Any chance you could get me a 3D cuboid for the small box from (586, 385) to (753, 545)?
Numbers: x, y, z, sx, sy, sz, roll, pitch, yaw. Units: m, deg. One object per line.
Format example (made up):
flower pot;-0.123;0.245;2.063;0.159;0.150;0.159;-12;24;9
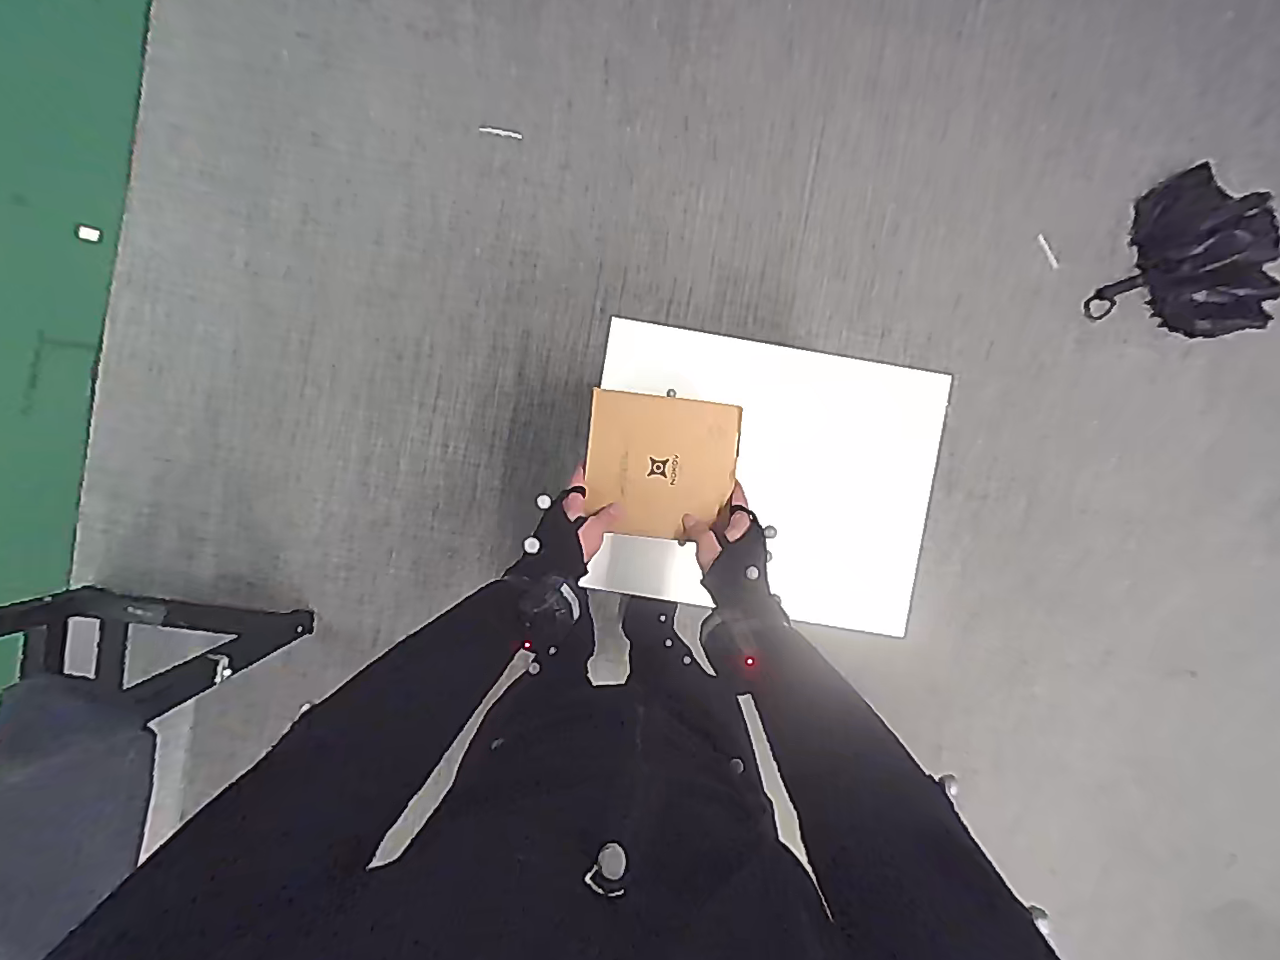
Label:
small box;0.029;-0.017;0.690;0.179;0.176;0.168;7;90;-4
